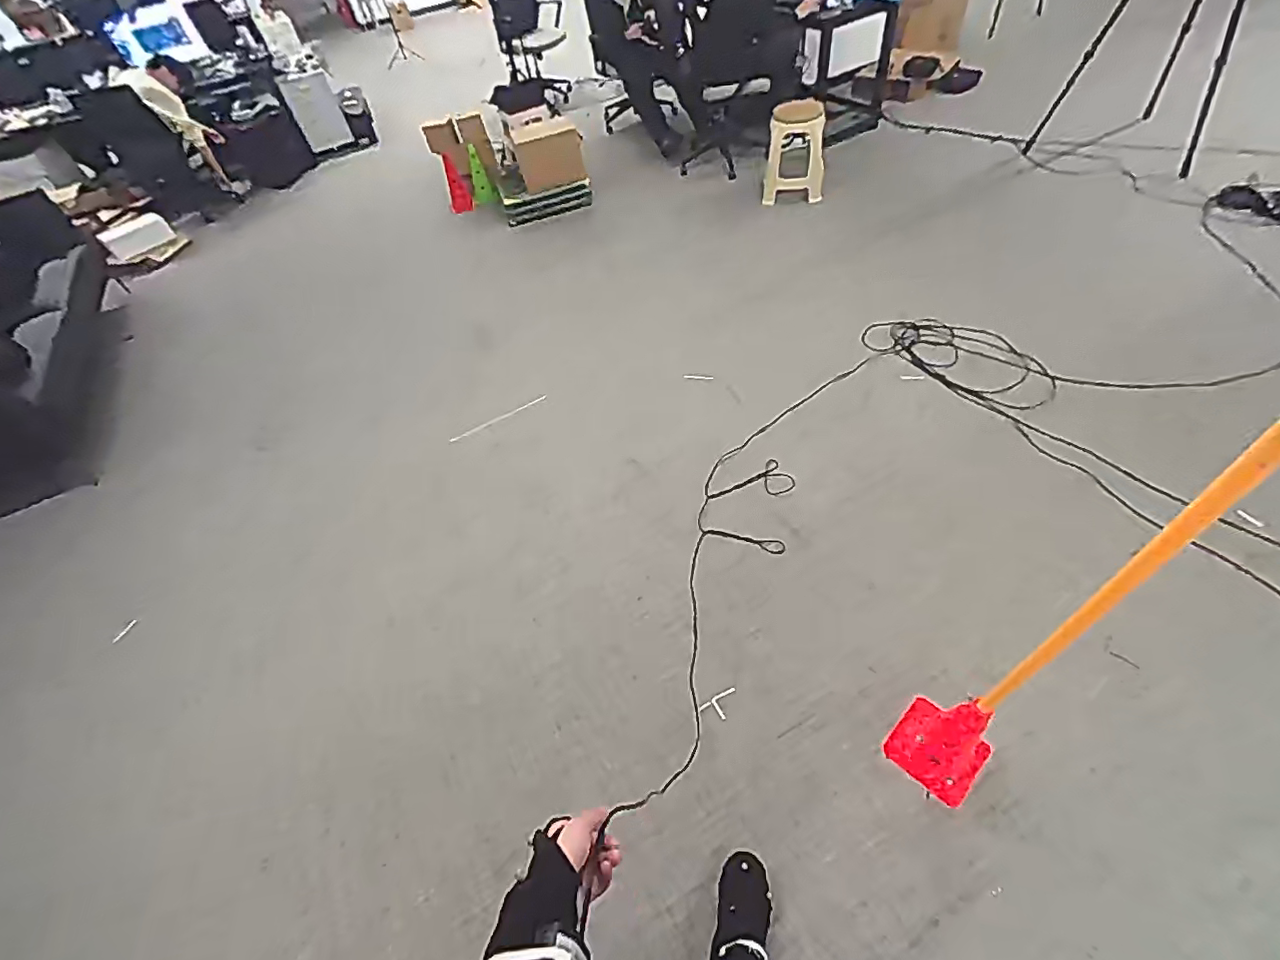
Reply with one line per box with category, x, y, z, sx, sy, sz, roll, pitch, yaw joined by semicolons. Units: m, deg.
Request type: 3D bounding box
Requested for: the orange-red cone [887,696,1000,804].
orange-red cone;0.739;0.570;1.243;0.199;0.360;0.198;-39;55;-22
